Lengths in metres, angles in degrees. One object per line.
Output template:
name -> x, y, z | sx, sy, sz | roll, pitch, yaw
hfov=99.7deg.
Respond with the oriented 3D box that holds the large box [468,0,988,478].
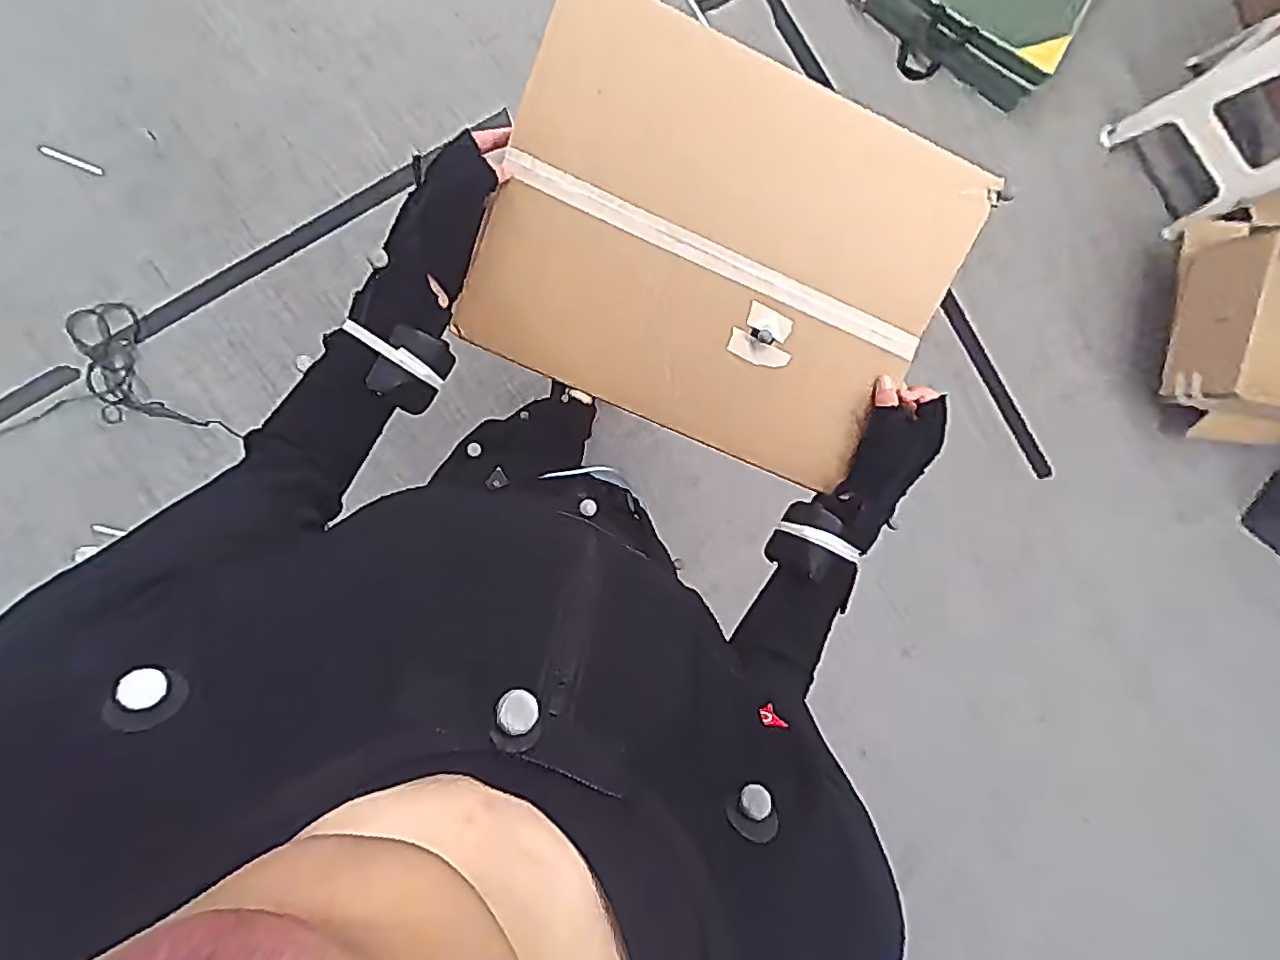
large box -> 0.071, -0.244, 0.641 | 0.408, 0.320, 0.320 | 23, 104, -7
